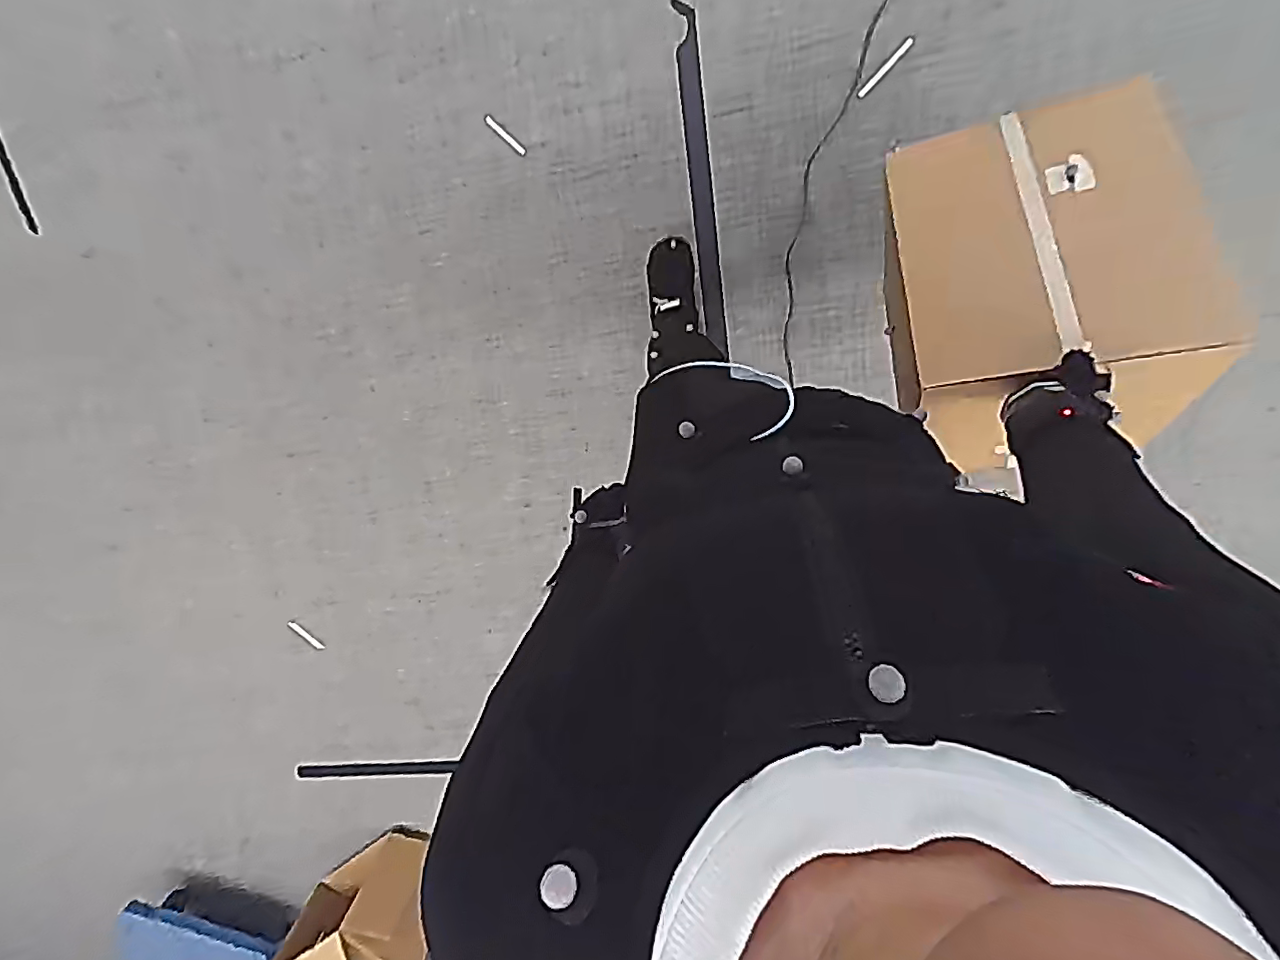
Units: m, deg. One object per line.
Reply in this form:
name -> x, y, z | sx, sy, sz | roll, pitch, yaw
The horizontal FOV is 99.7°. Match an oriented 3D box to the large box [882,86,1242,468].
large box -> 0.561, -0.269, 0.823 | 0.320, 0.320, 0.408 | -6, 68, 20
